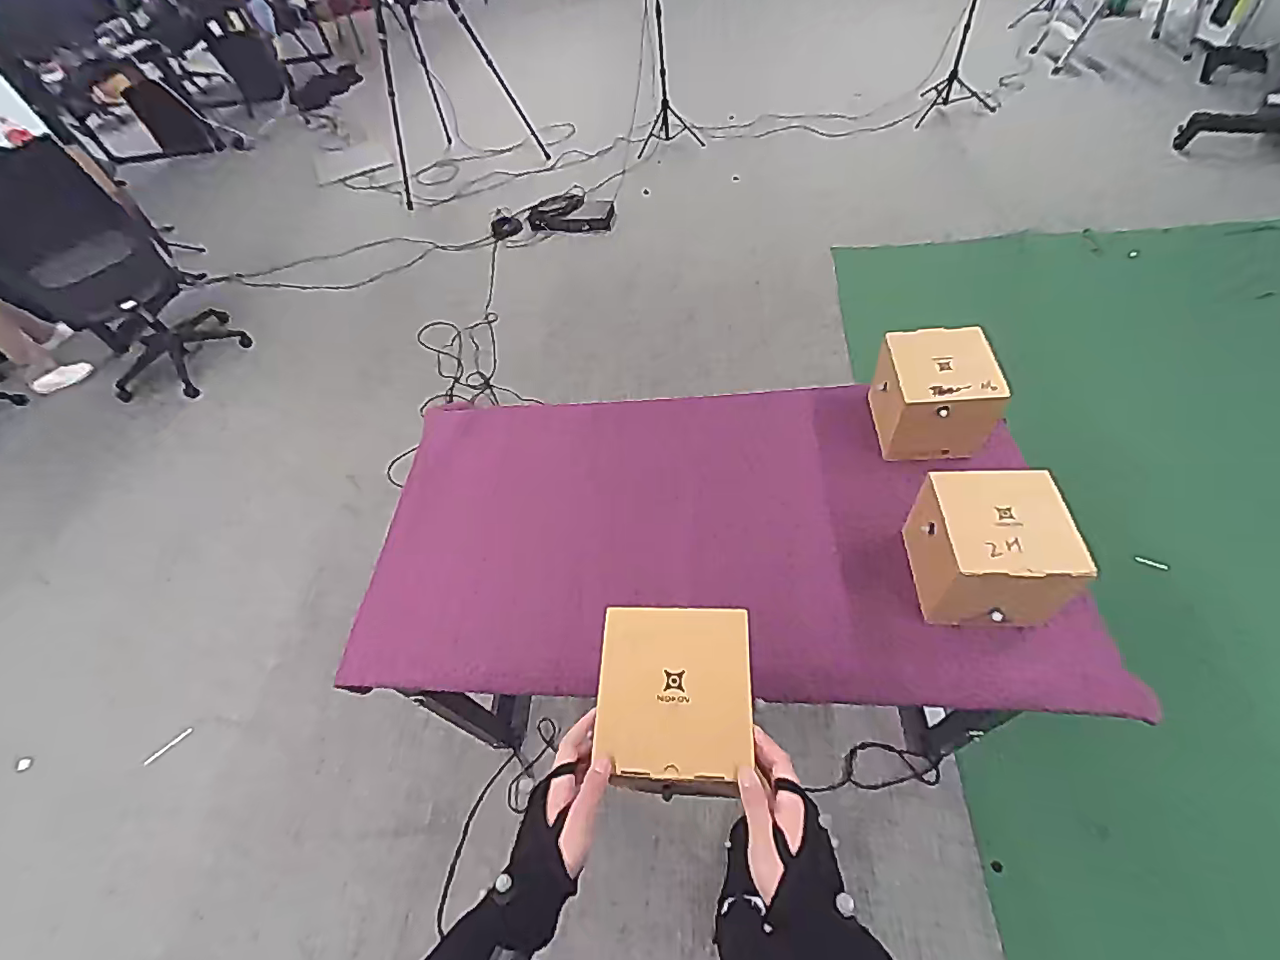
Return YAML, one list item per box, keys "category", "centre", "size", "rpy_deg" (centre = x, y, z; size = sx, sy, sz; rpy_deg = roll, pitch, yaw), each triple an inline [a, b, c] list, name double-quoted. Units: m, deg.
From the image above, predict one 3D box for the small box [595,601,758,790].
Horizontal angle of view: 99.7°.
- category: "small box"
  centre: [0.048, 0.261, 0.650]
  size: [0.168, 0.176, 0.179]
  rpy_deg: [-1, 56, 7]

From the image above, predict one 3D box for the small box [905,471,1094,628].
- category: "small box"
  centre: [0.518, 0.104, 0.815]
  size: [0.168, 0.176, 0.179]
  rpy_deg: [-1, 52, 9]

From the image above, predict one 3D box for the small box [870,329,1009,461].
- category: "small box"
  centre: [0.539, -0.155, 1.005]
  size: [0.168, 0.176, 0.179]
  rpy_deg: [-2, 55, 9]
